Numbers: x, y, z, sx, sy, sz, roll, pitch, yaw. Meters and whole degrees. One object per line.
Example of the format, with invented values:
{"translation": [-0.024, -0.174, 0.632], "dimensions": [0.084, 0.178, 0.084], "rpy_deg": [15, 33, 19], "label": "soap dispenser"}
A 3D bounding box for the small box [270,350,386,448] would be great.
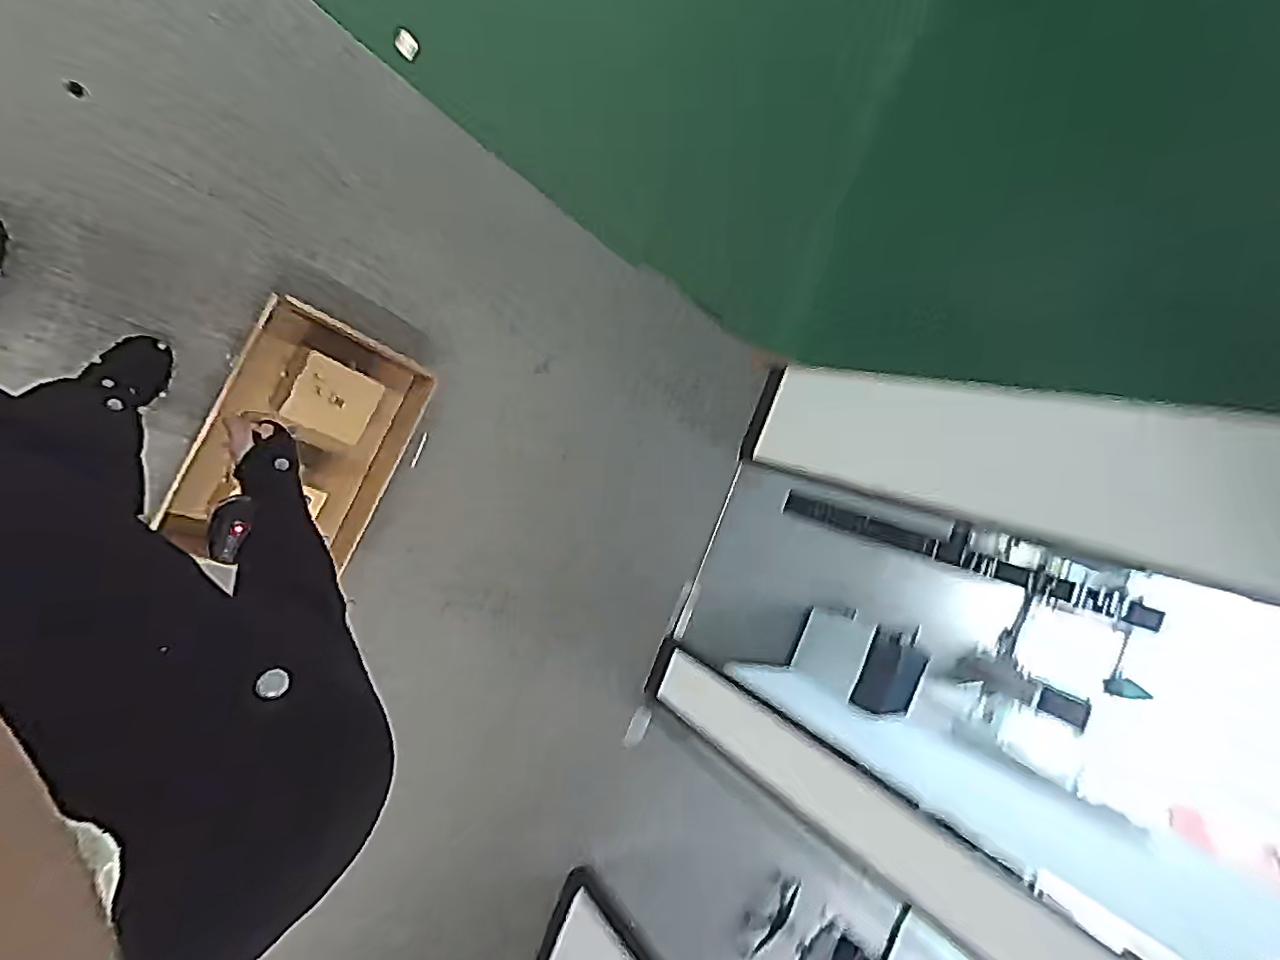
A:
{"translation": [-0.760, -0.202, 1.314], "dimensions": [0.179, 0.176, 0.168], "rpy_deg": [30, 84, -44], "label": "small box"}

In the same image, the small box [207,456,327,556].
{"translation": [-0.892, 0.057, 1.289], "dimensions": [0.179, 0.176, 0.168], "rpy_deg": [32, 83, -43], "label": "small box"}
